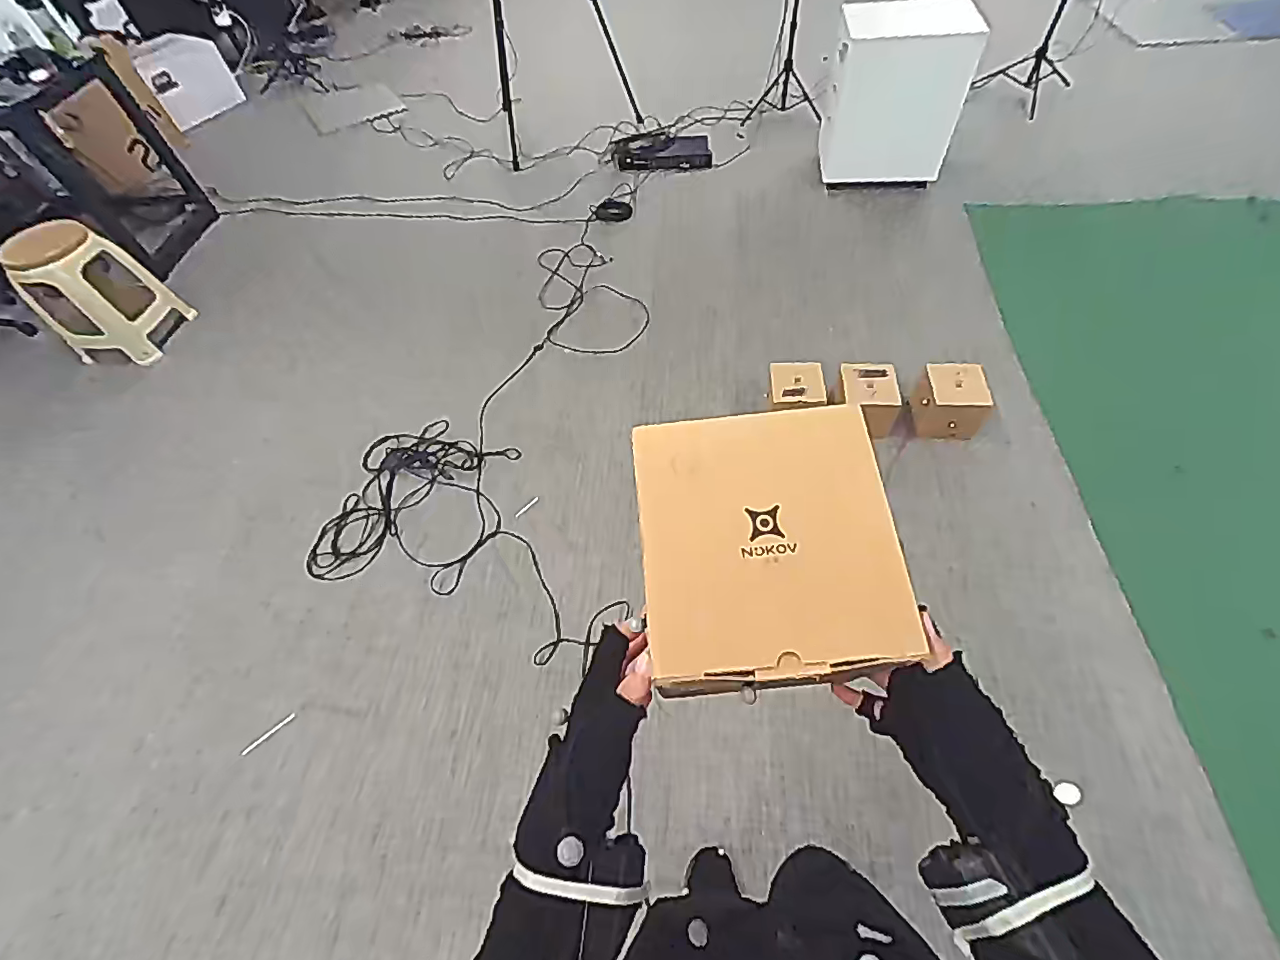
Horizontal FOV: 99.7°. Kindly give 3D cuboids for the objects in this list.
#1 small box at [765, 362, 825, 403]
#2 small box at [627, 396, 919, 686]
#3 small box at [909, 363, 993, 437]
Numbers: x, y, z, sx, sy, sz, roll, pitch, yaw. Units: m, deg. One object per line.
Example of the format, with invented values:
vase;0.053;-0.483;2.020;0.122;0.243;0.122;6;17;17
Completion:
small box;0.506;-0.267;1.779;0.168;0.176;0.179;1;55;7
small box;0.081;0.058;0.425;0.168;0.176;0.179;-7;66;2
small box;0.984;-0.253;1.725;0.168;0.176;0.179;2;56;6
